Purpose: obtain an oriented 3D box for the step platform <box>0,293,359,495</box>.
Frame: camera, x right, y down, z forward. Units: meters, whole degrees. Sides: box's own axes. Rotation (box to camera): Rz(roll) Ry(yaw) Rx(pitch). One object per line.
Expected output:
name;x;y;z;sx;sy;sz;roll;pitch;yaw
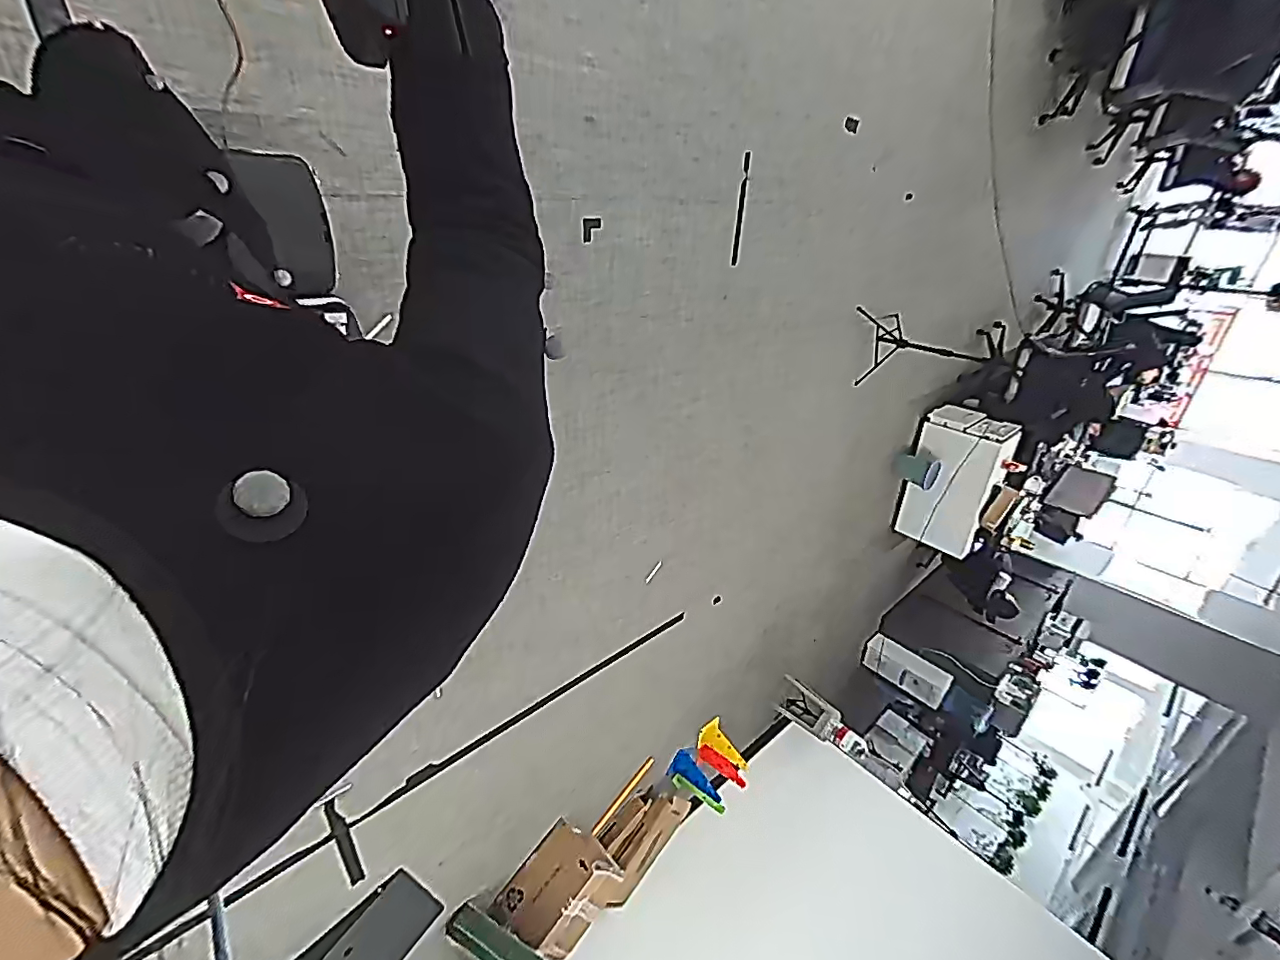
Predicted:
step platform;-0.966;-0.203;1.118;0.684;0.204;0.286;-20;124;-34
